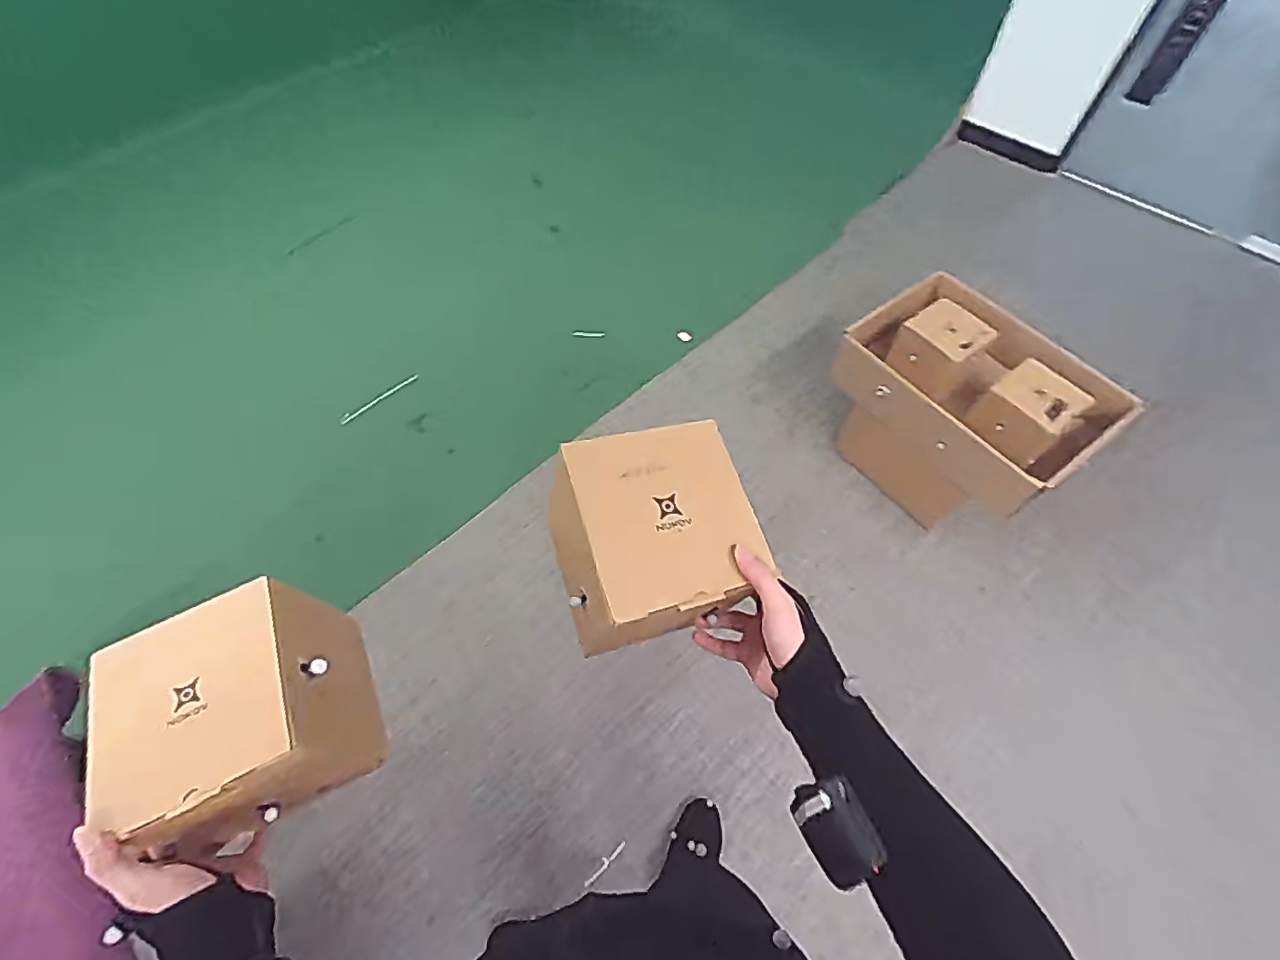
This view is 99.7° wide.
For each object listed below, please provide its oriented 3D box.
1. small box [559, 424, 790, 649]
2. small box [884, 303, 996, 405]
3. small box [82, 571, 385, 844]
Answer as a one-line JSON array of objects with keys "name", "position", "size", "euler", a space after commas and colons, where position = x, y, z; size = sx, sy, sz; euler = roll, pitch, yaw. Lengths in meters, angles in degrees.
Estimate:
[{"name": "small box", "position": [0.019, 0.066, 0.558], "size": [0.168, 0.176, 0.179], "euler": [-9, 66, -20]}, {"name": "small box", "position": [0.805, -0.339, 1.473], "size": [0.168, 0.176, 0.179], "euler": [-33, 63, -15]}, {"name": "small box", "position": [-0.382, 0.224, 0.535], "size": [0.168, 0.176, 0.179], "euler": [-24, 62, -9]}]
